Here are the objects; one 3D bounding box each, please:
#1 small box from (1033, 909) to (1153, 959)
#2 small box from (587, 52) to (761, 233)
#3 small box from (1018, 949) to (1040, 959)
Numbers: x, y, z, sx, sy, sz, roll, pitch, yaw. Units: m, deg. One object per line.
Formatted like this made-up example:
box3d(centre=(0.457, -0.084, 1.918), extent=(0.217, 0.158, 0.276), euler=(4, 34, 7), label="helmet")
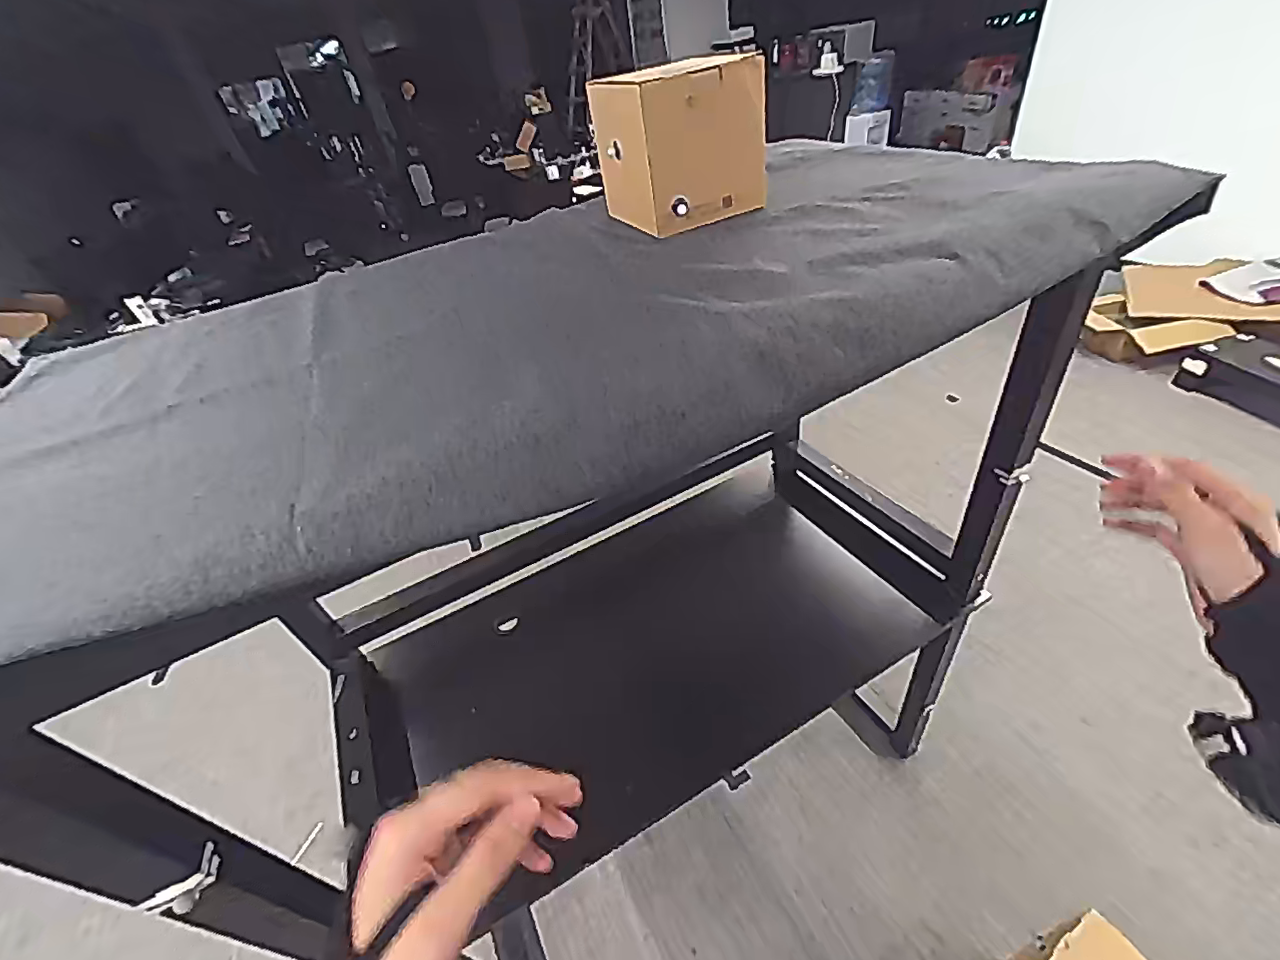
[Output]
box3d(centre=(0.719, 0.819, 0.830), extent=(0.168, 0.176, 0.179), euler=(-28, 42, -18), label="small box")
box3d(centre=(0.049, -0.447, 0.723), extent=(0.168, 0.176, 0.179), euler=(-23, 40, -13), label="small box")
box3d(centre=(0.764, 1.064, 1.042), extent=(0.179, 0.176, 0.168), euler=(-27, 42, -17), label="small box")
